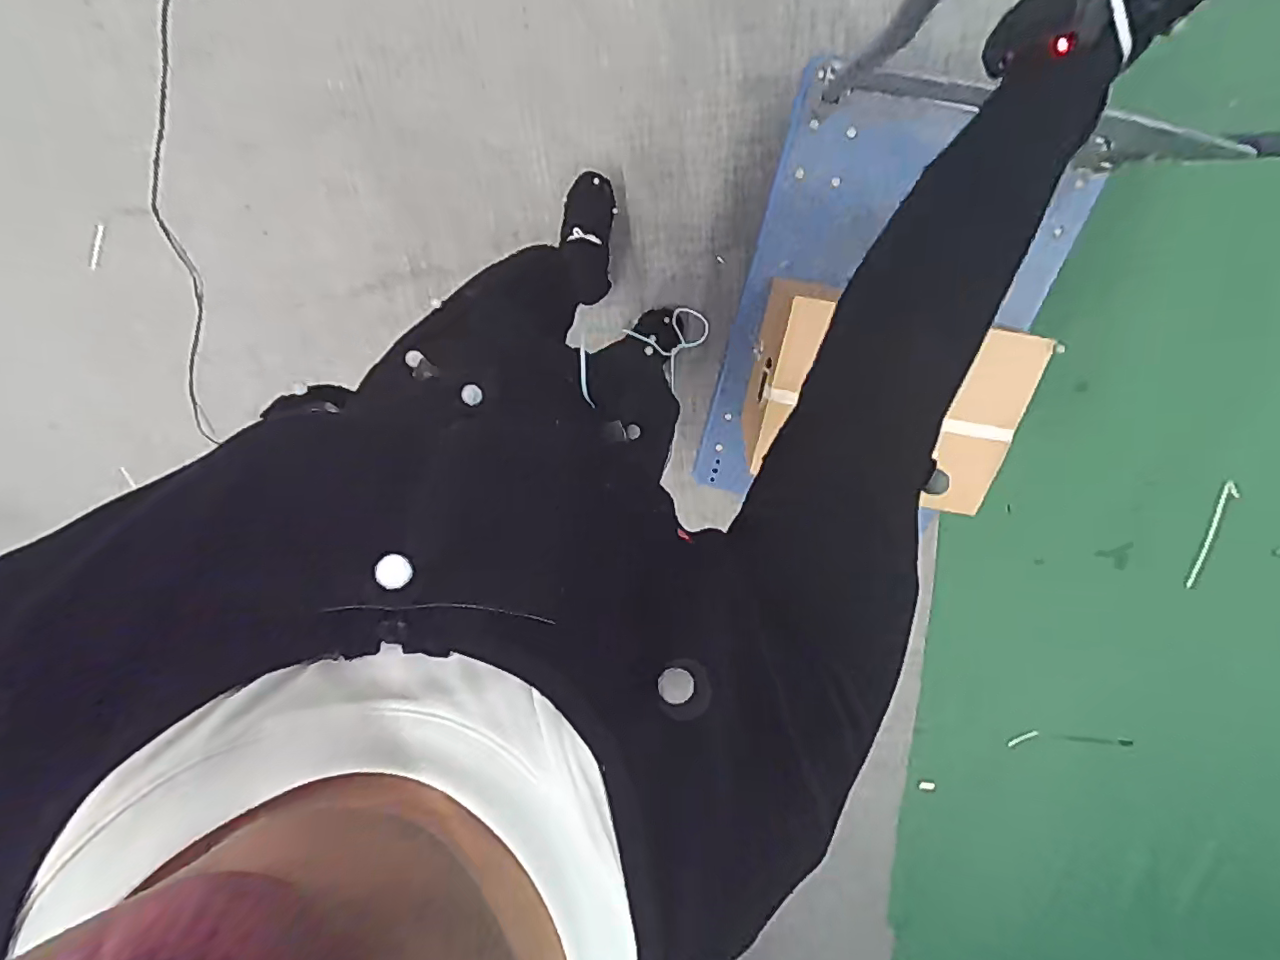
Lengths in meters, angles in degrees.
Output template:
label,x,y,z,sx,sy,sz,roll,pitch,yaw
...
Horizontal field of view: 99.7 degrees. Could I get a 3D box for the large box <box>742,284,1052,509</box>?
label,x,y,z,sx,sy,sz,roll,pitch,yaw
large box,0.428,-0.176,1.027,0.408,0.320,0.320,10,117,2
